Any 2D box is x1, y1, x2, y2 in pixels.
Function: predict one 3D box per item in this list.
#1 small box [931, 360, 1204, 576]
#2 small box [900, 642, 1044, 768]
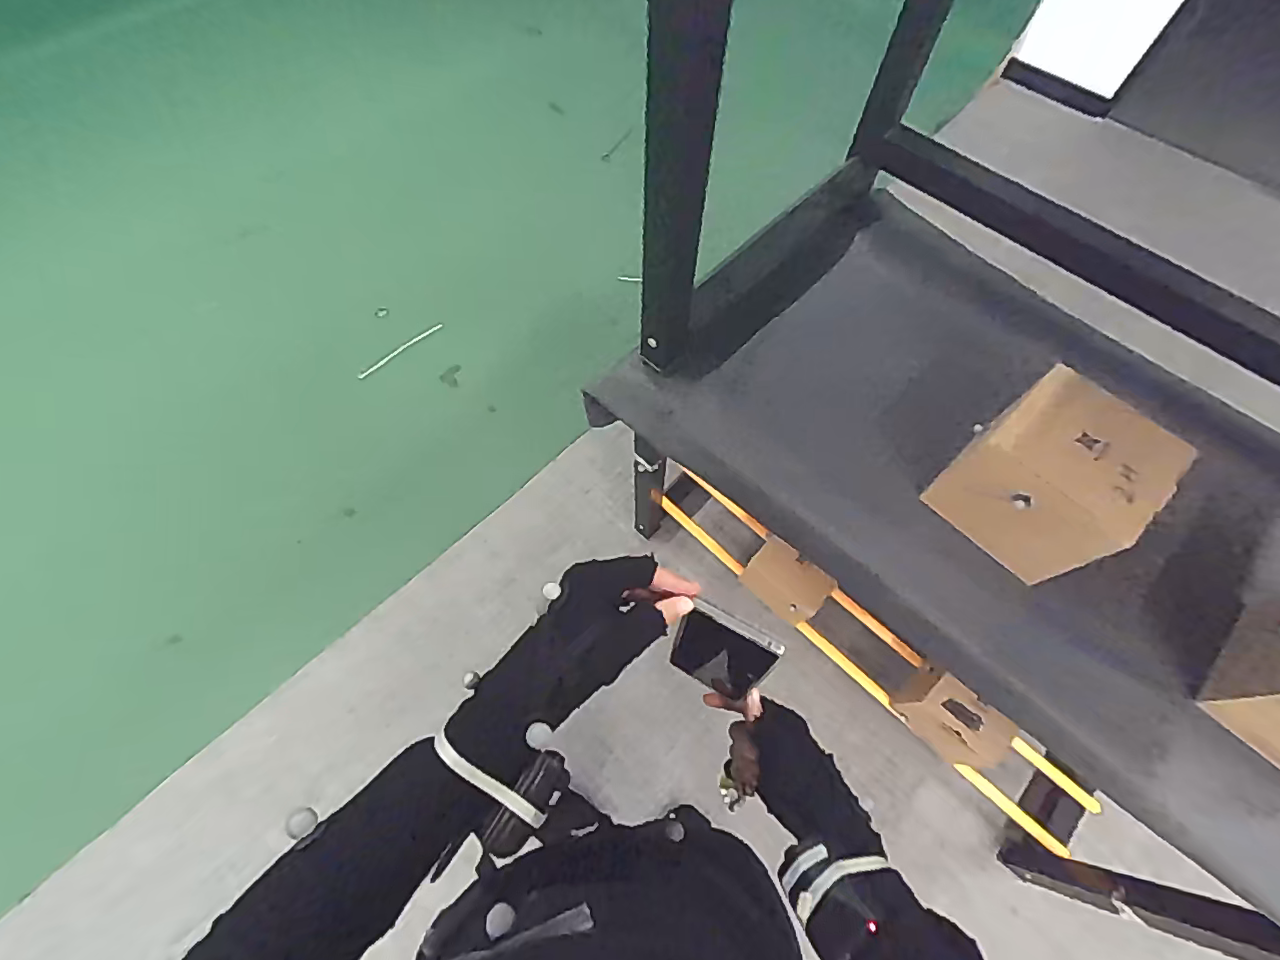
[{"bbox_3d":[0.512,-0.007,0.677,0.168,0.176,0.179,-40,71,-17],"label":"small box"},{"bbox_3d":[0.681,0.474,1.138,0.179,0.176,0.168,-40,71,-17],"label":"small box"}]
